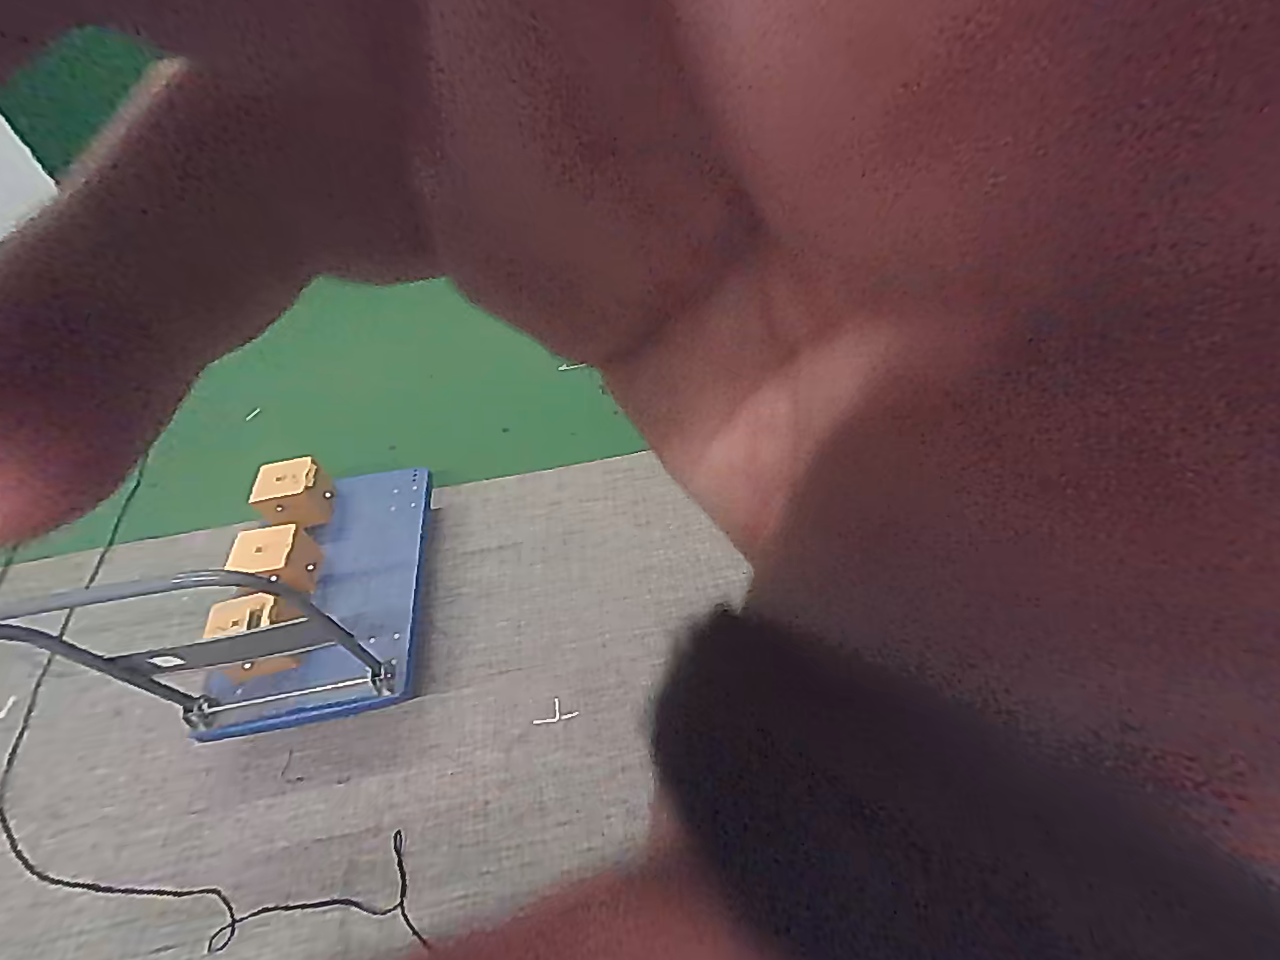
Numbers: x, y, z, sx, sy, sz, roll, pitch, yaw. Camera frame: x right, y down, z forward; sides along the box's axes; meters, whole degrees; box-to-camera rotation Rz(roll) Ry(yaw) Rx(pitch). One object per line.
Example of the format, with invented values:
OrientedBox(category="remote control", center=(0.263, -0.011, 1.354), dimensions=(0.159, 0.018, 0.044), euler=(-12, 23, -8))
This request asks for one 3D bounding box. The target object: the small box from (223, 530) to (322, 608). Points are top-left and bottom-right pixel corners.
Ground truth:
OrientedBox(category="small box", center=(-1.124, 0.279, 1.669), dimensions=(0.179, 0.176, 0.168), euler=(-9, 49, -5))

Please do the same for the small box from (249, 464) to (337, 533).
OrientedBox(category="small box", center=(-1.179, 0.072, 1.850), dimensions=(0.179, 0.176, 0.168), euler=(-10, 50, -5))
